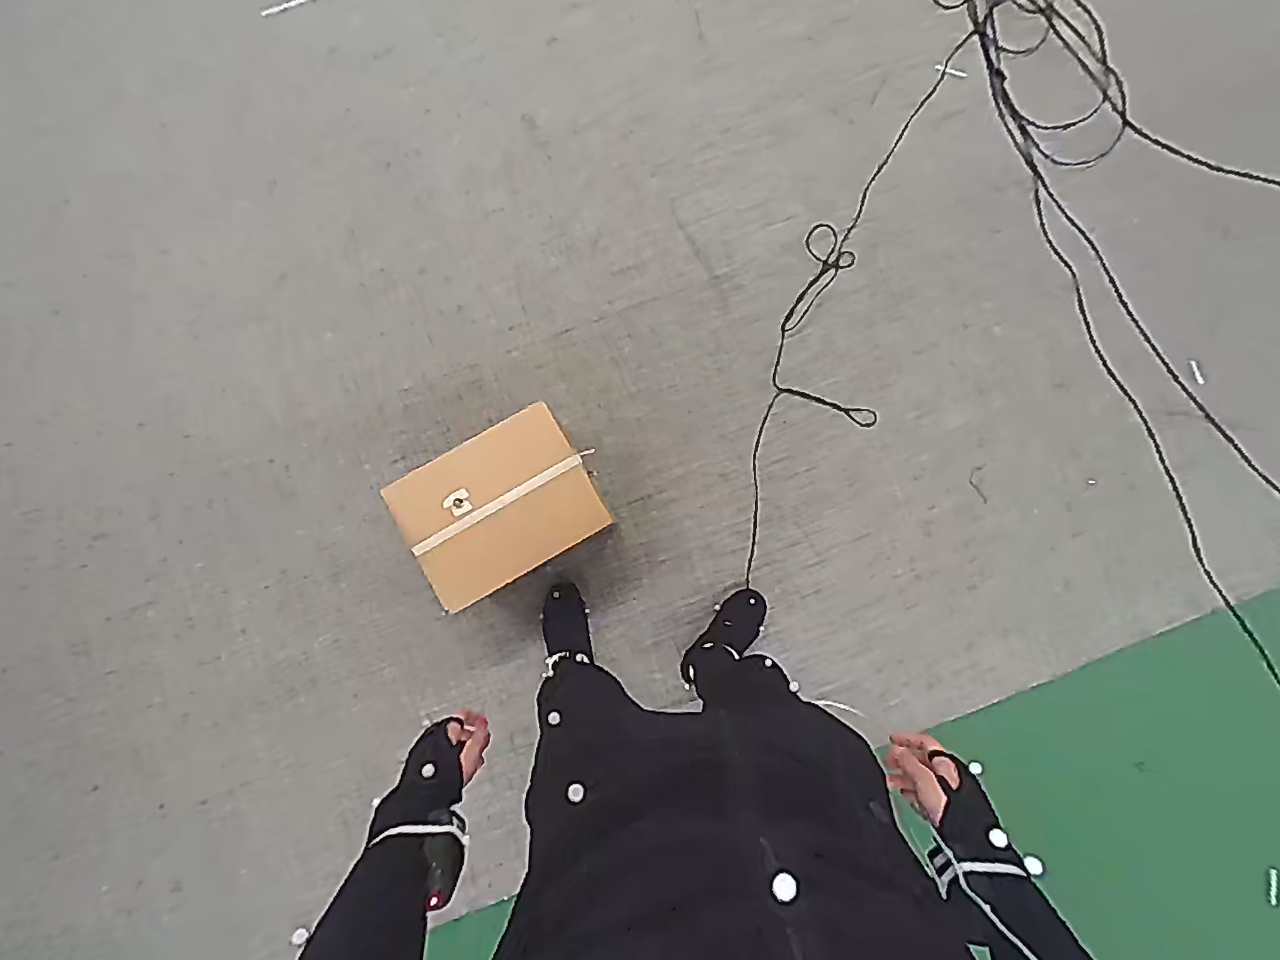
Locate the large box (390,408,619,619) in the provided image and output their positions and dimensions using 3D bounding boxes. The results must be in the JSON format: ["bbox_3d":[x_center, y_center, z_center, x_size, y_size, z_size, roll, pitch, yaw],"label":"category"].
[{"bbox_3d":[-0.299,0.078,1.321,0.408,0.320,0.320,-30,85,-2],"label":"large box"}]
